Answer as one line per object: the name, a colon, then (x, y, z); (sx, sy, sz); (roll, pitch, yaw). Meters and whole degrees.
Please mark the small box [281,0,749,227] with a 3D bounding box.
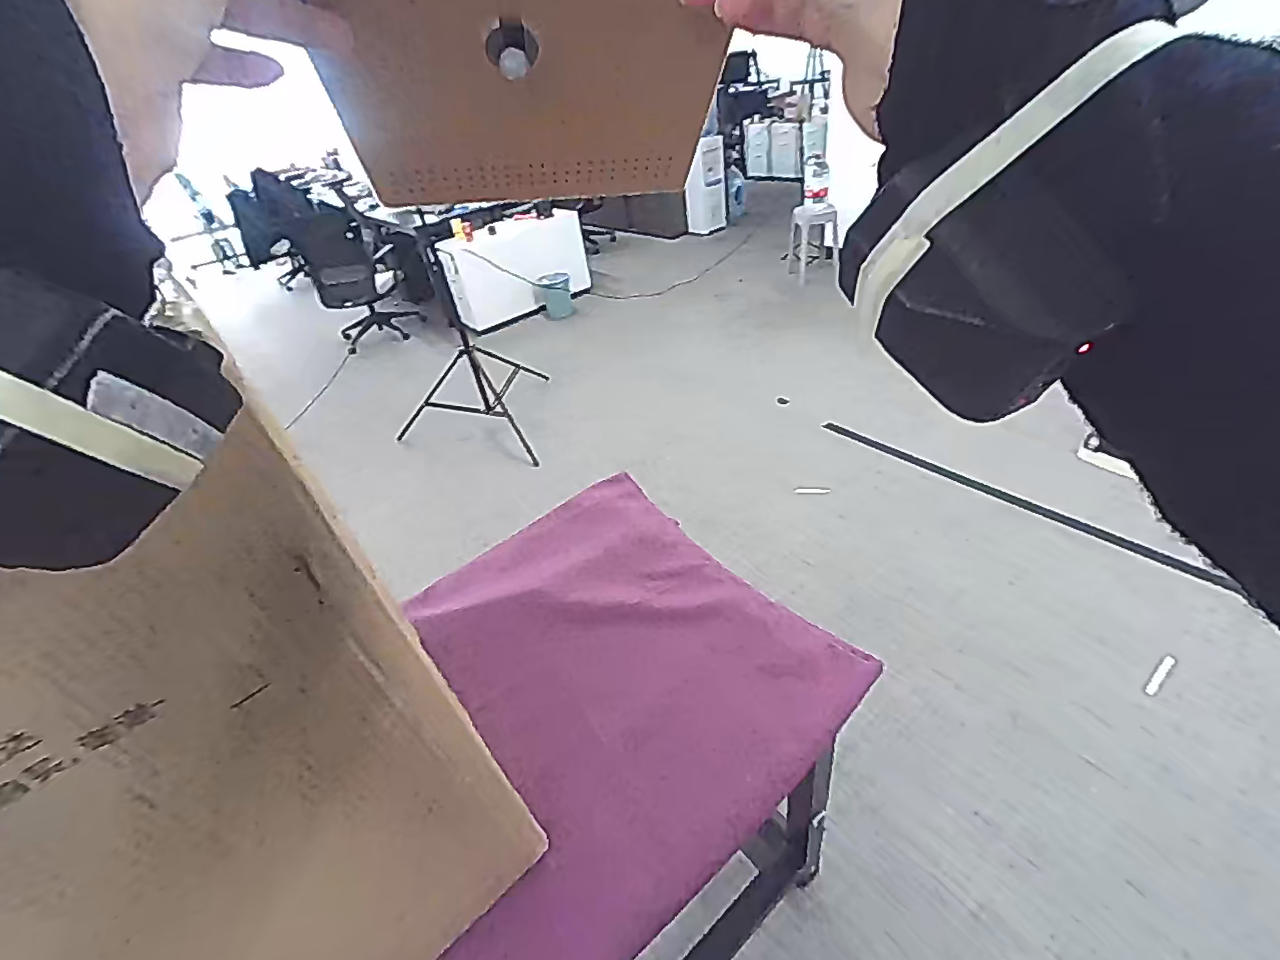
small box: (-0.059, -0.246, 0.254); (0.179, 0.176, 0.168); (-9, 80, -9)
